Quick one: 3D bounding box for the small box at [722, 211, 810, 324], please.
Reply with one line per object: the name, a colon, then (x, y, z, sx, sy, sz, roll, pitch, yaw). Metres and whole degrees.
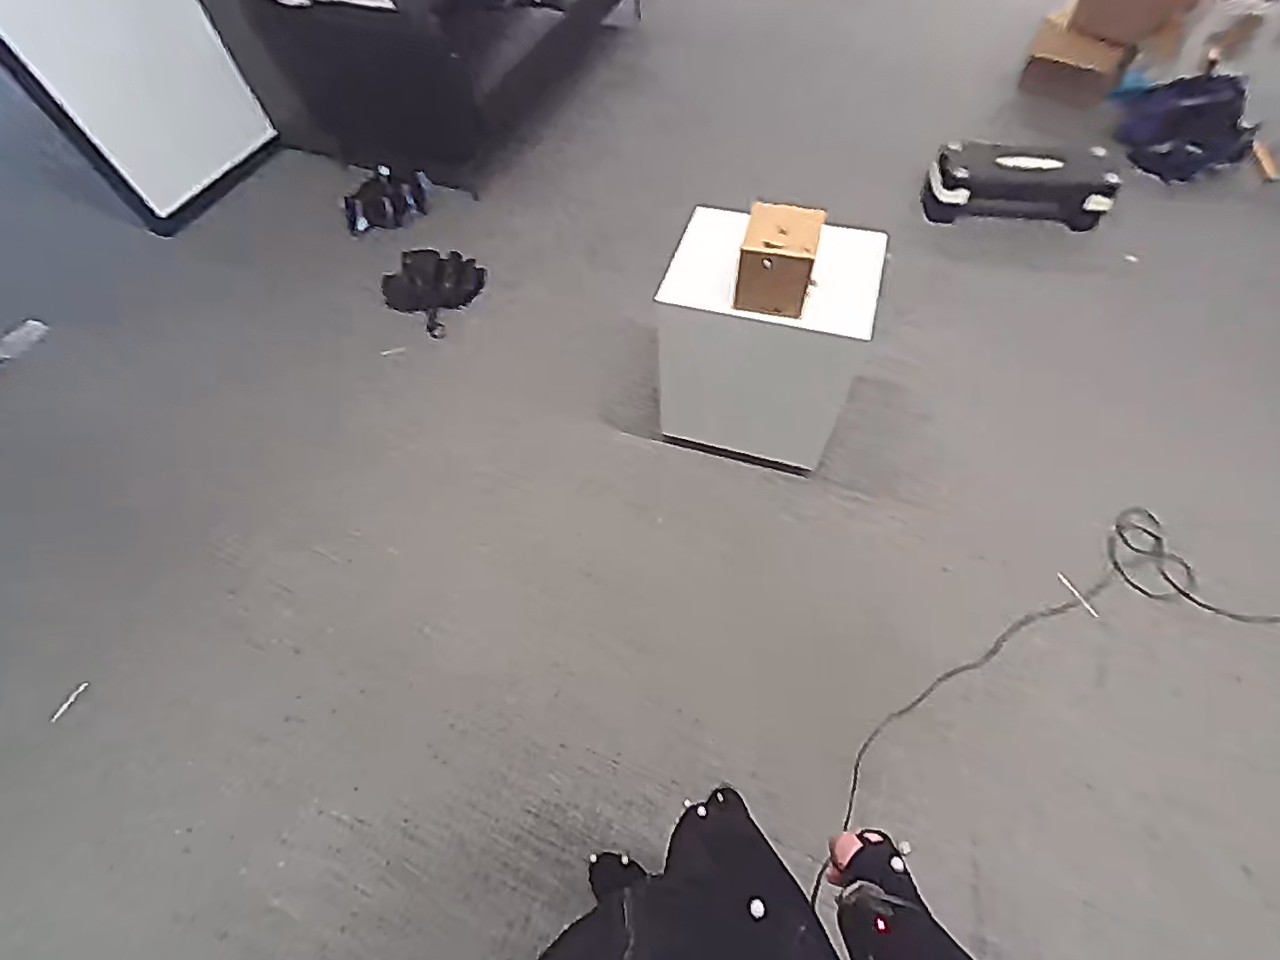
small box: (0.290, -0.497, 1.268, 0.168, 0.176, 0.179, 11, 58, 11)
